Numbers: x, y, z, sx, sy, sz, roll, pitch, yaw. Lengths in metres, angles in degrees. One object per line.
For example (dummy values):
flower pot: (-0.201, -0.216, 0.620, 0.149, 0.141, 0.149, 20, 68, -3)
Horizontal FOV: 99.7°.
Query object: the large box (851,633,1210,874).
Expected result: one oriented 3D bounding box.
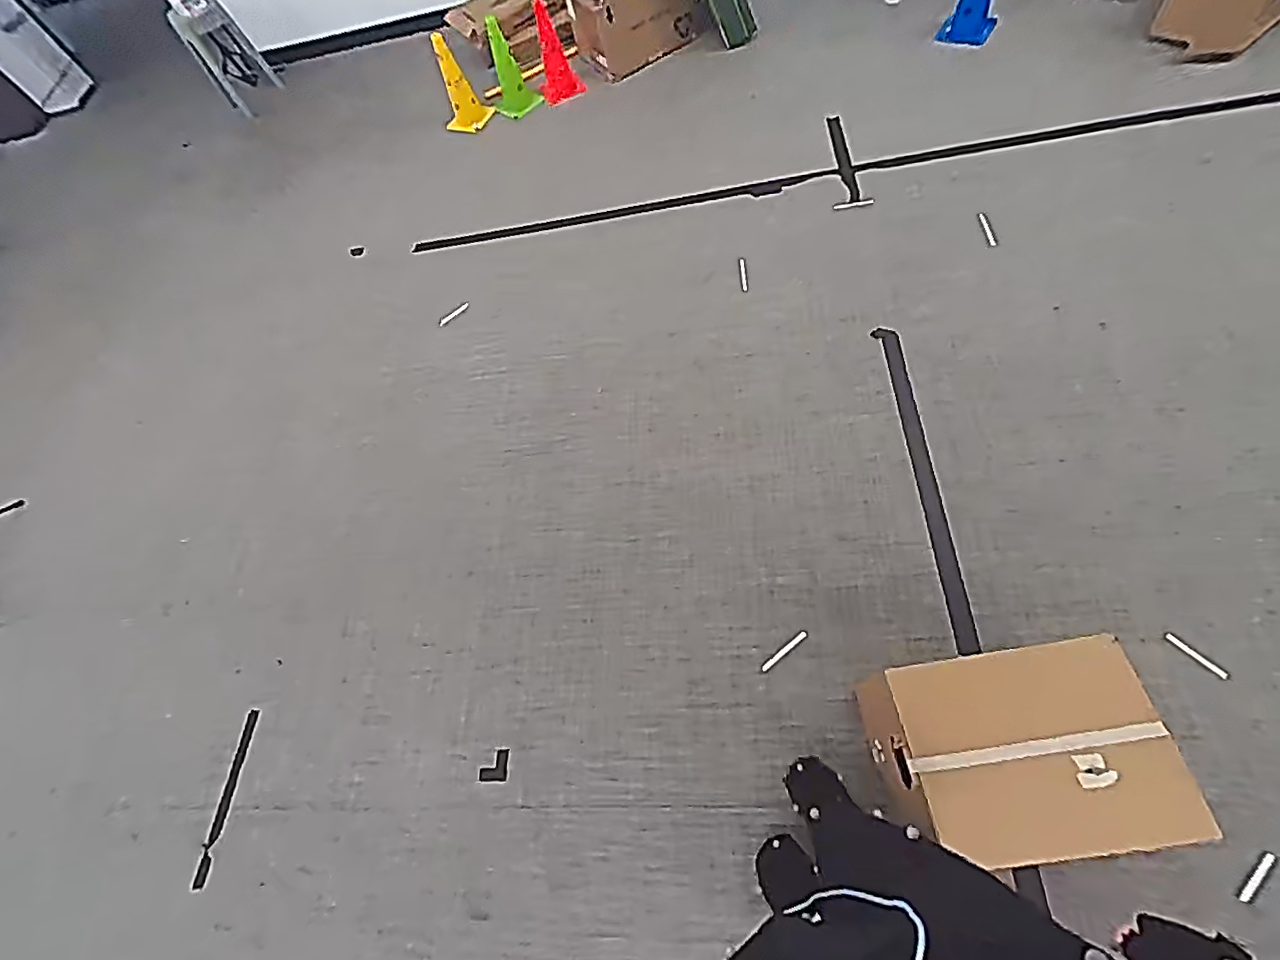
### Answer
large box: (0.674, 0.511, 1.032, 0.408, 0.320, 0.320, -11, 63, 5)
